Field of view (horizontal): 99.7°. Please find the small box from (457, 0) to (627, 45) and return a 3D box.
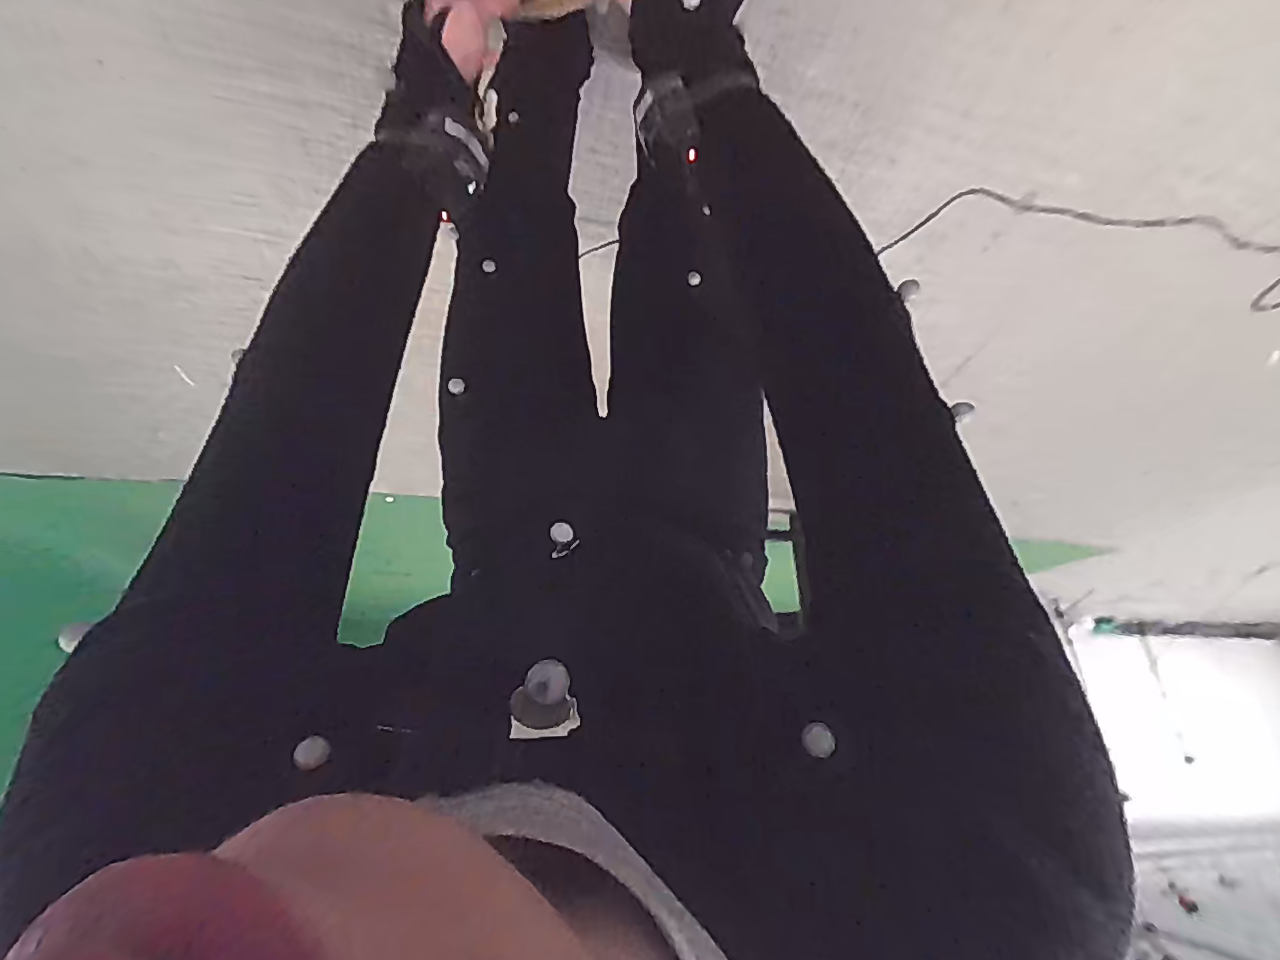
[{"bbox_3d":[-0.072,-0.505,0.455,0.168,0.176,0.179,-1,129,23],"label":"small box"}]
